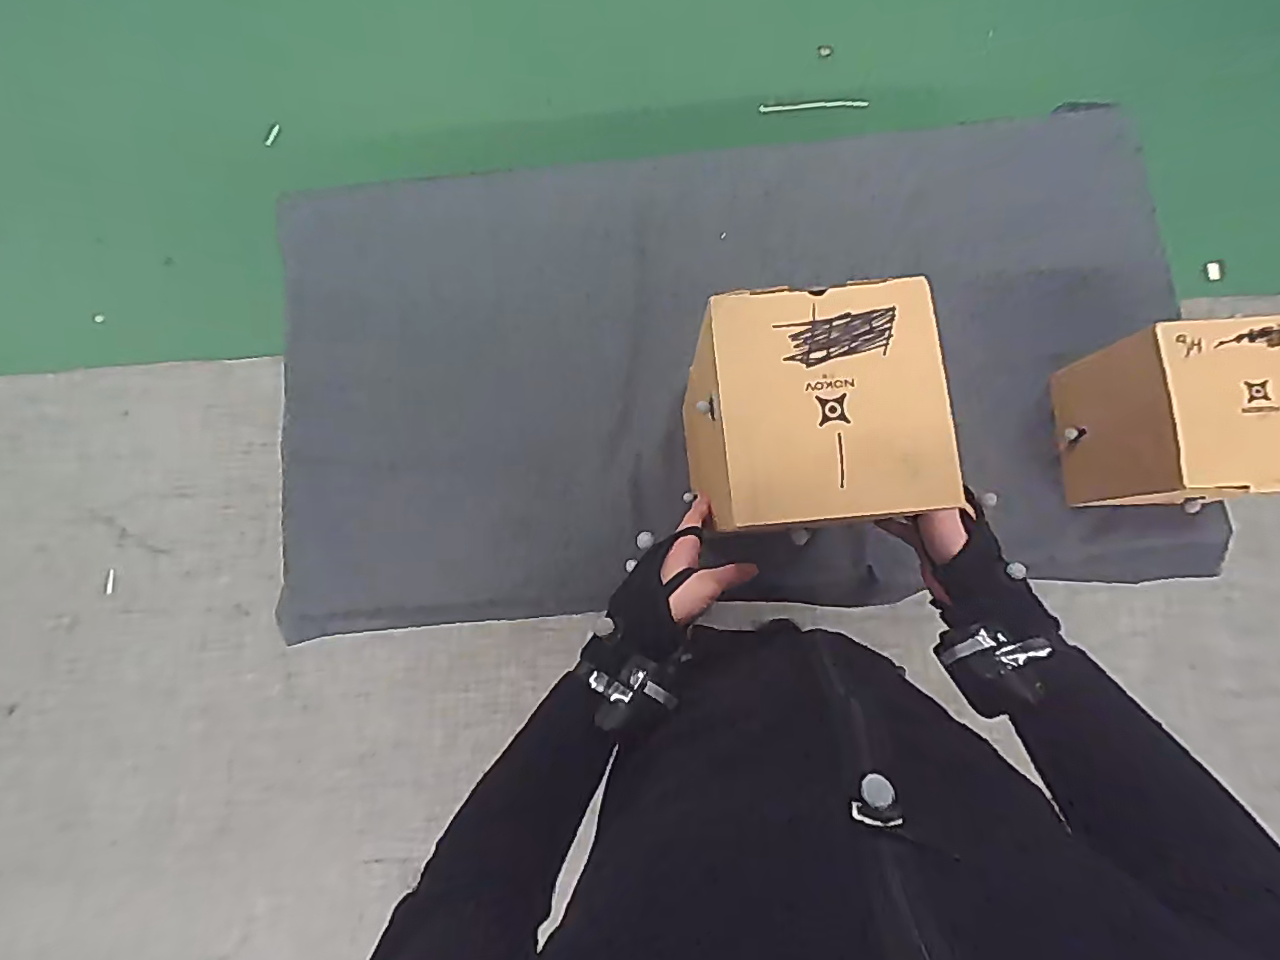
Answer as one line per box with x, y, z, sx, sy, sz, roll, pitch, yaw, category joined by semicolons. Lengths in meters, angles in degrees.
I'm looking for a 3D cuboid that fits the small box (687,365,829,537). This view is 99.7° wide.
0.146;-0.028;0.622;0.168;0.176;0.179;-6;79;1;small box

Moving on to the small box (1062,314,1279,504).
0.618;-0.066;0.601;0.168;0.176;0.179;-2;81;5;small box

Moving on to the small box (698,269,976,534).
0.143;-0.051;0.460;0.168;0.176;0.179;-5;82;1;small box
